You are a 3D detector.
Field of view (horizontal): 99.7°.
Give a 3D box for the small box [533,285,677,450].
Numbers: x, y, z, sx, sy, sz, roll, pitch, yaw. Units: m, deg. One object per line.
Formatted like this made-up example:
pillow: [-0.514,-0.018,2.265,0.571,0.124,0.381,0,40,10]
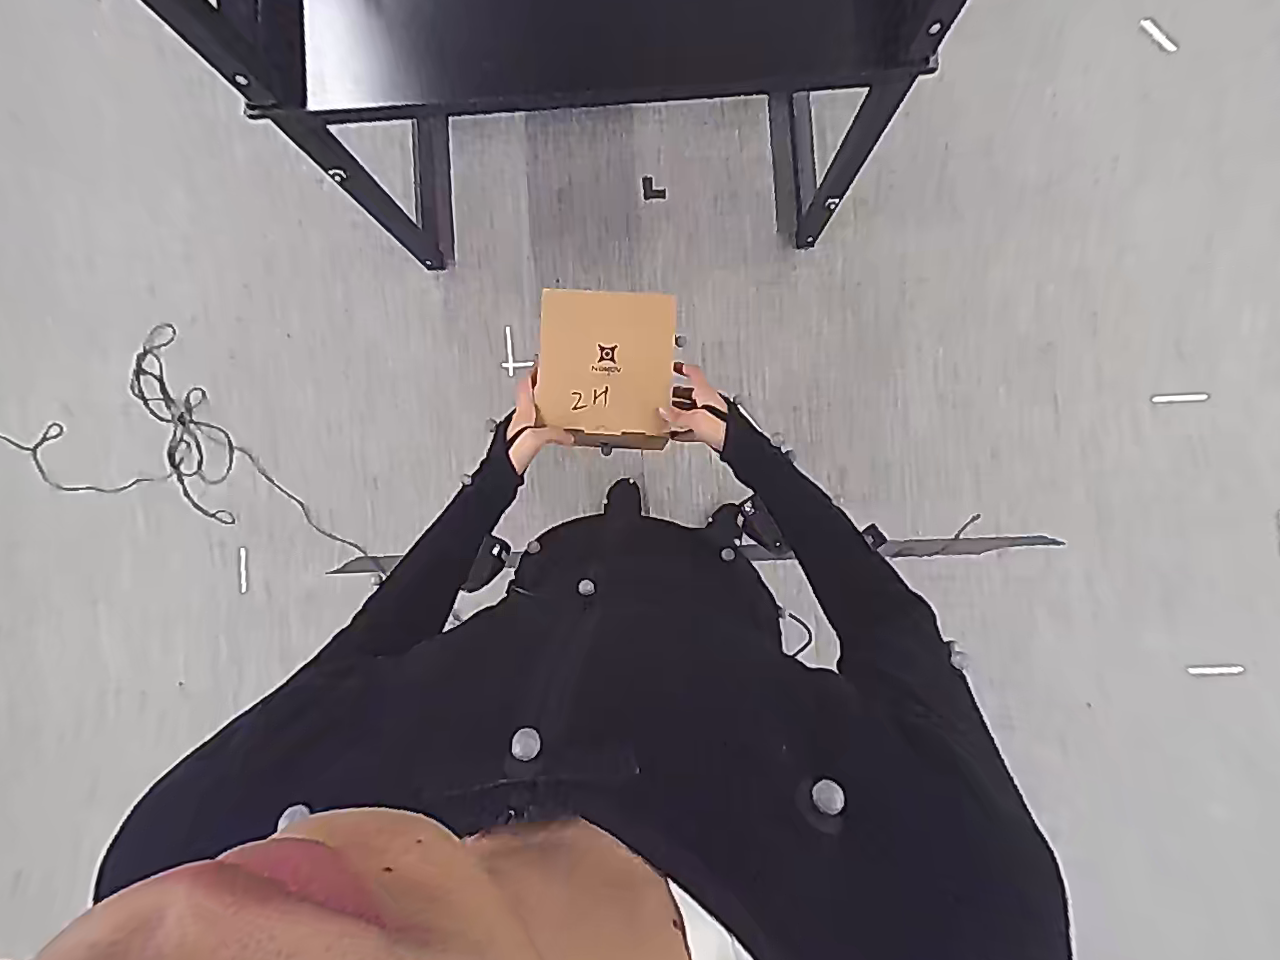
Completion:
small box: [-0.043,-0.141,0.728,0.168,0.176,0.179,3,88,0]
